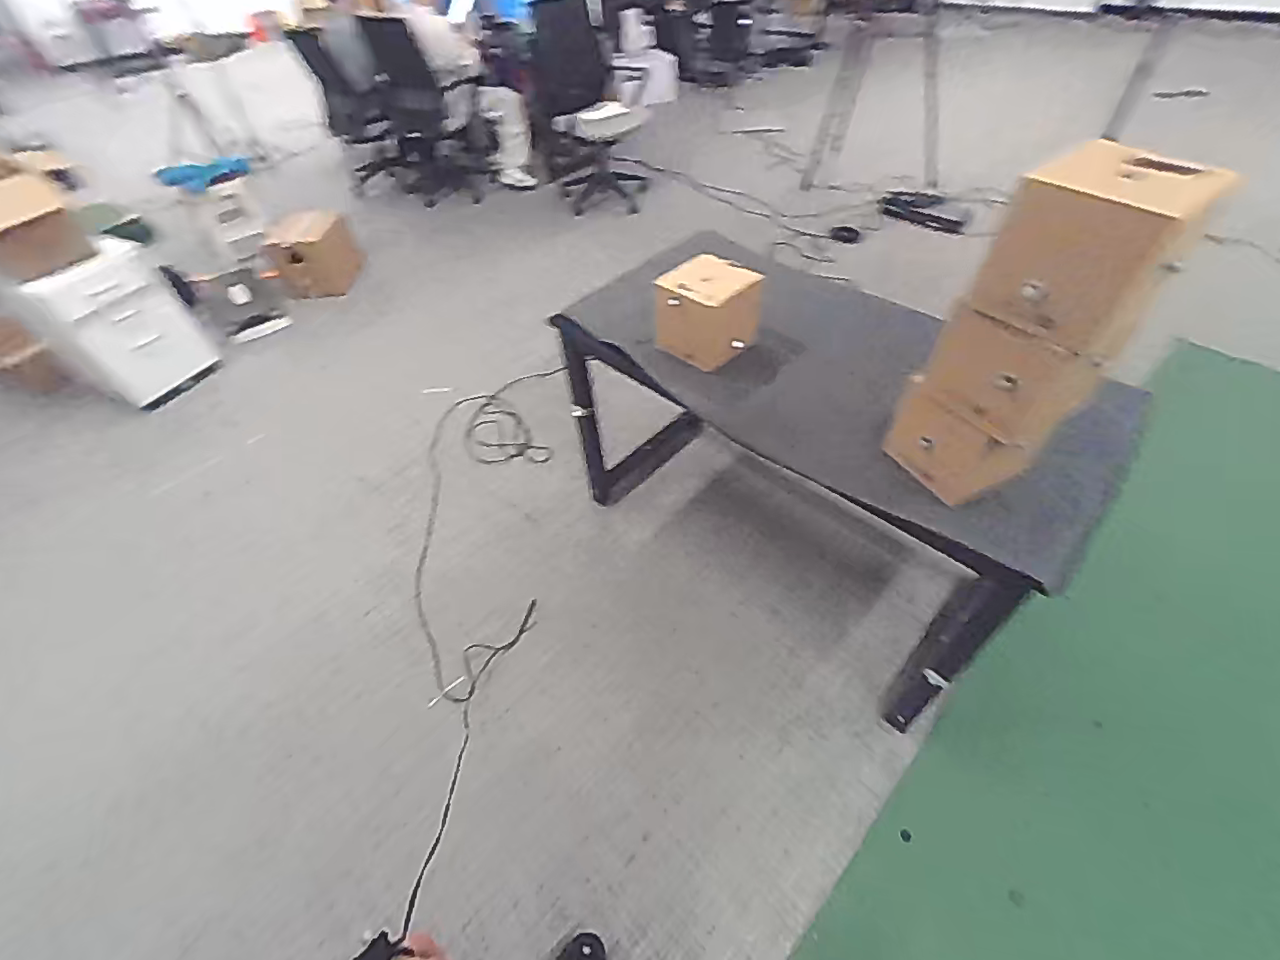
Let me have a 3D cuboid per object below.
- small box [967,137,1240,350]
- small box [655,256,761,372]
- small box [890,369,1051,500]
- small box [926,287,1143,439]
[{"bbox_3d":[0.548,-0.292,0.666,0.179,0.176,0.168,-30,53,-21],"label":"small box"},{"bbox_3d":[0.148,-0.377,1.226,0.168,0.176,0.179,34,58,30],"label":"small box"},{"bbox_3d":[0.559,-0.092,0.926,0.179,0.176,0.168,-20,49,-16],"label":"small box"},{"bbox_3d":[0.556,-0.187,0.794,0.179,0.176,0.168,-24,51,-19],"label":"small box"}]
